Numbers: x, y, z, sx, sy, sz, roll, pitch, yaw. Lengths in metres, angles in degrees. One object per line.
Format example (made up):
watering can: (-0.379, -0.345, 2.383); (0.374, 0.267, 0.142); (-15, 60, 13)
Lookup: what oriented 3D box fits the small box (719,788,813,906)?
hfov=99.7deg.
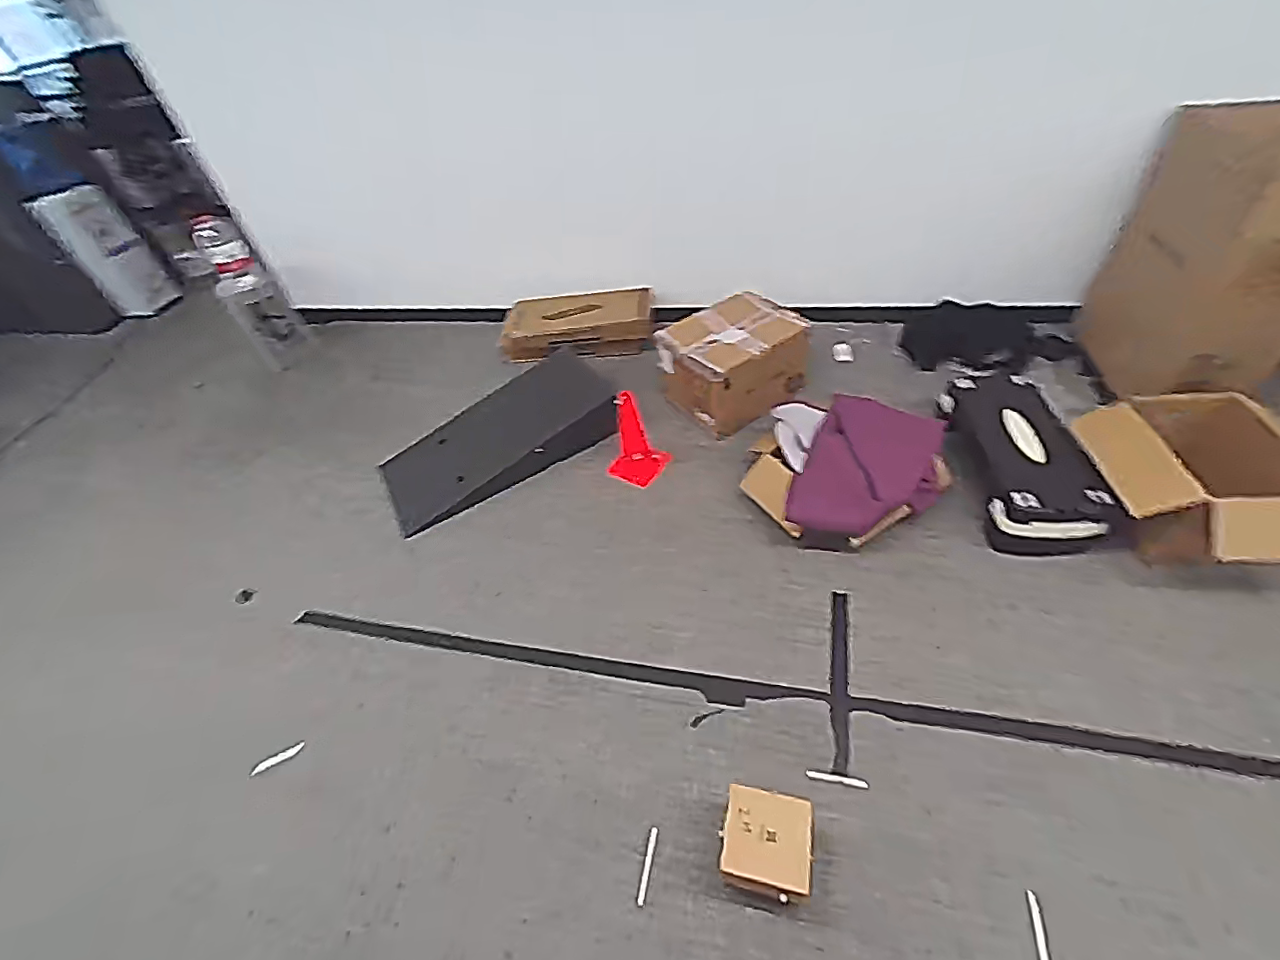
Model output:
small box: (0.274, 0.804, 1.180); (0.179, 0.176, 0.168); (6, 47, 16)
